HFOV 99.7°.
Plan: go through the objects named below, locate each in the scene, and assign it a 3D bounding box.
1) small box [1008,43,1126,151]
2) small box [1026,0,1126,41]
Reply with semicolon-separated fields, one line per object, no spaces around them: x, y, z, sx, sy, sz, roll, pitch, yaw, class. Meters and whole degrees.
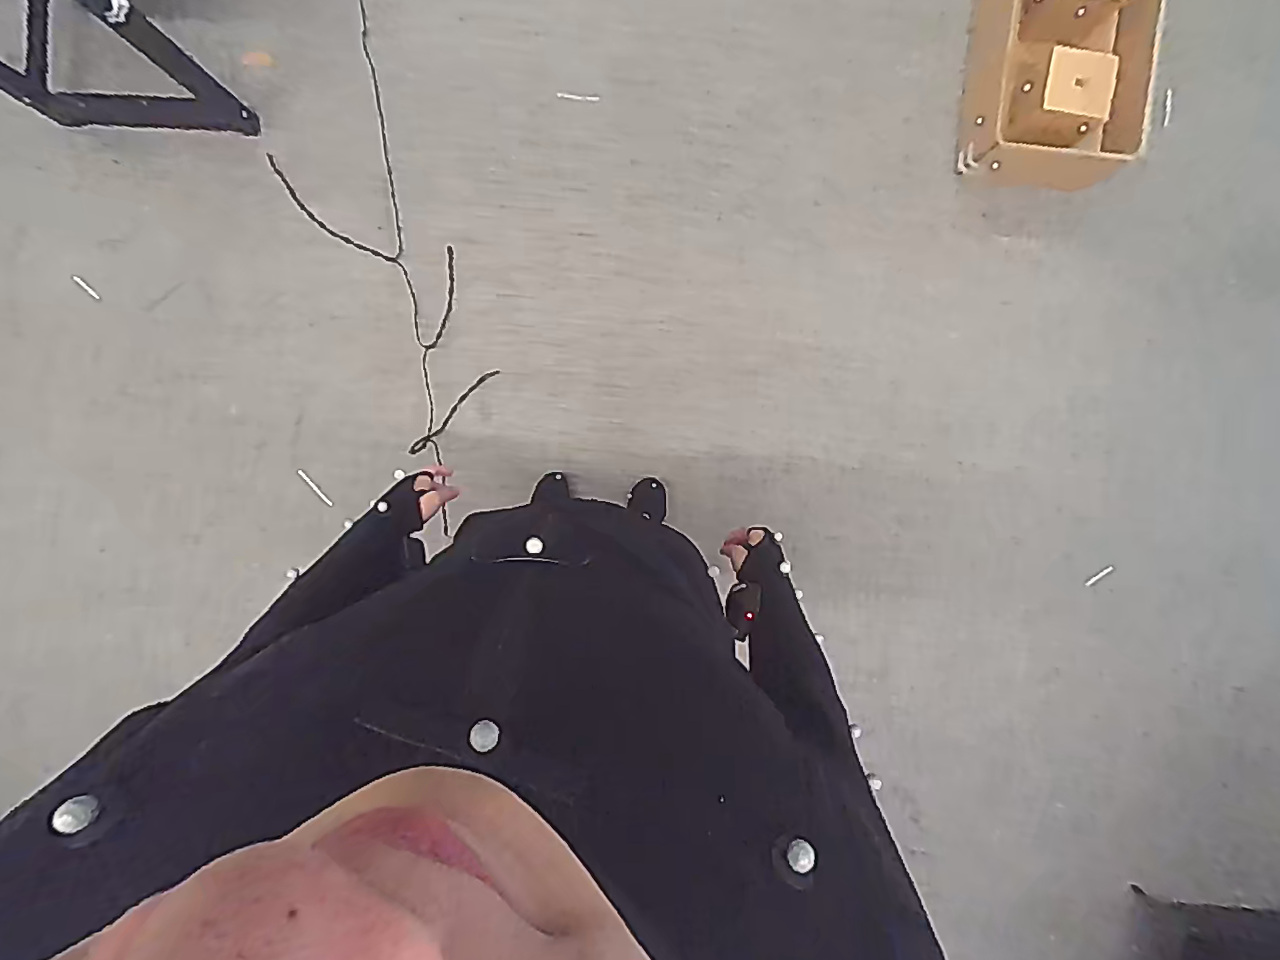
1.143;-1.024;1.461;0.179;0.176;0.168;9;92;0;small box
1.180;-1.322;1.447;0.179;0.176;0.168;5;94;-1;small box
